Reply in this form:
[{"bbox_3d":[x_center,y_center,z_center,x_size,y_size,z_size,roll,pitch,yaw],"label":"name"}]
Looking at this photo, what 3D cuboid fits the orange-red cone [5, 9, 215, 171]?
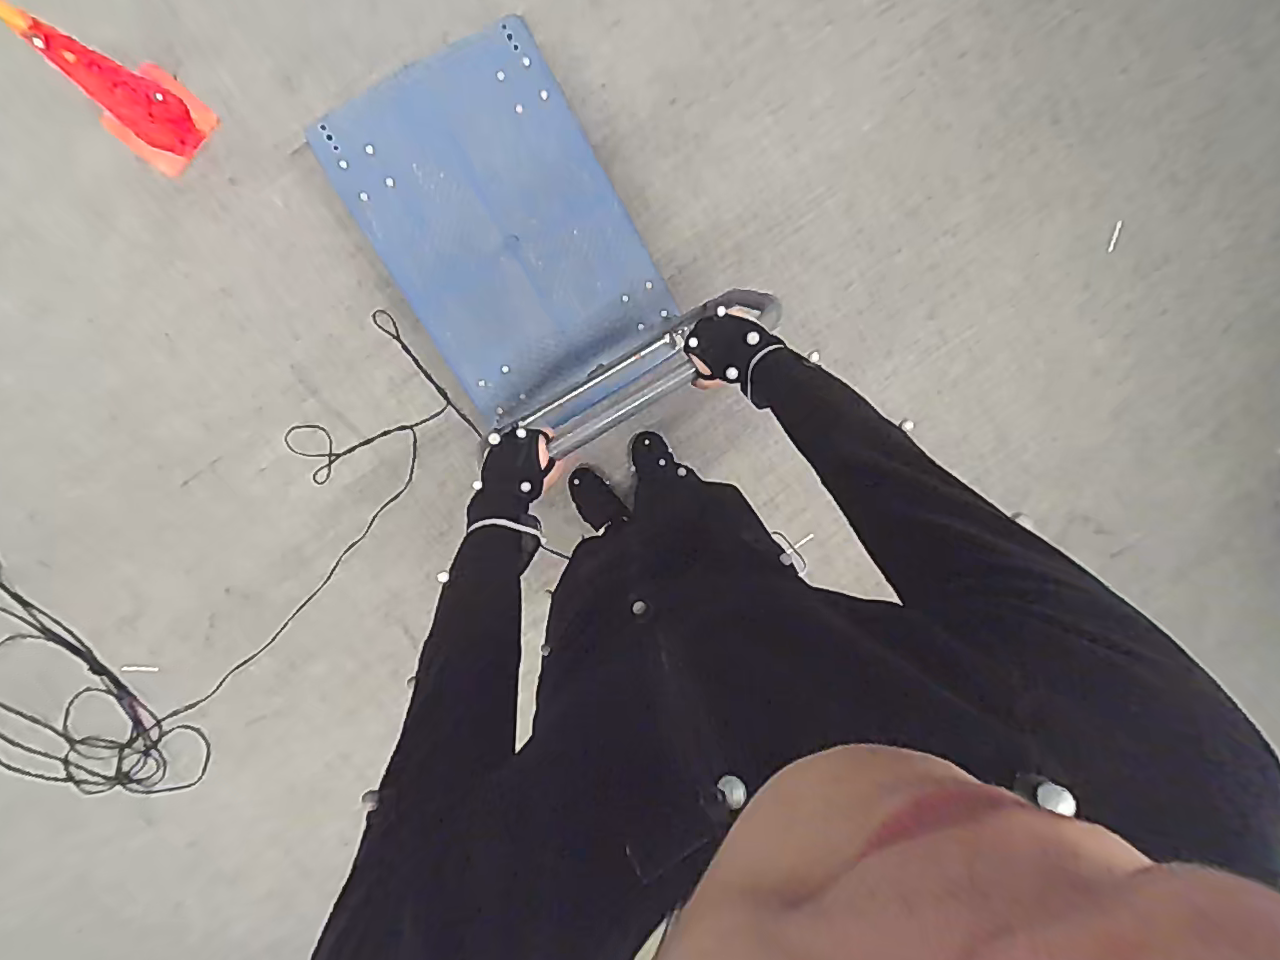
[{"bbox_3d":[-1.172,-0.875,1.173,0.198,0.360,0.199,40,93,-9],"label":"orange-red cone"}]
